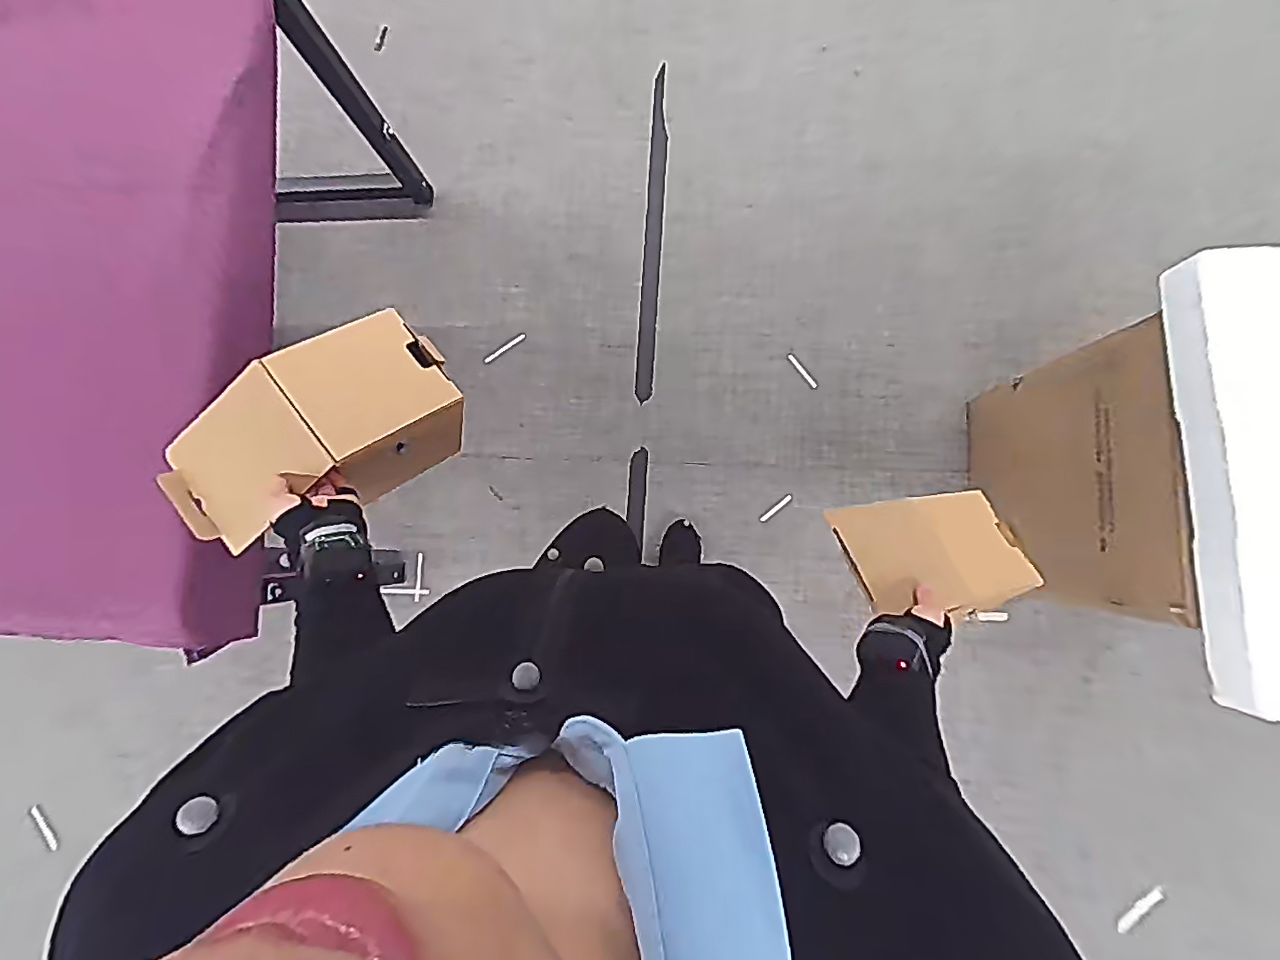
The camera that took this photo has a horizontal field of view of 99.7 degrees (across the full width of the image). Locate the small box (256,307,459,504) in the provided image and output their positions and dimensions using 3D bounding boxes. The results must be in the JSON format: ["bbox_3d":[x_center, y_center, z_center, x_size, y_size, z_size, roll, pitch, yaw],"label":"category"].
[{"bbox_3d":[-0.366,-0.094,0.735,0.179,0.176,0.168,-36,83,-29],"label":"small box"}]
